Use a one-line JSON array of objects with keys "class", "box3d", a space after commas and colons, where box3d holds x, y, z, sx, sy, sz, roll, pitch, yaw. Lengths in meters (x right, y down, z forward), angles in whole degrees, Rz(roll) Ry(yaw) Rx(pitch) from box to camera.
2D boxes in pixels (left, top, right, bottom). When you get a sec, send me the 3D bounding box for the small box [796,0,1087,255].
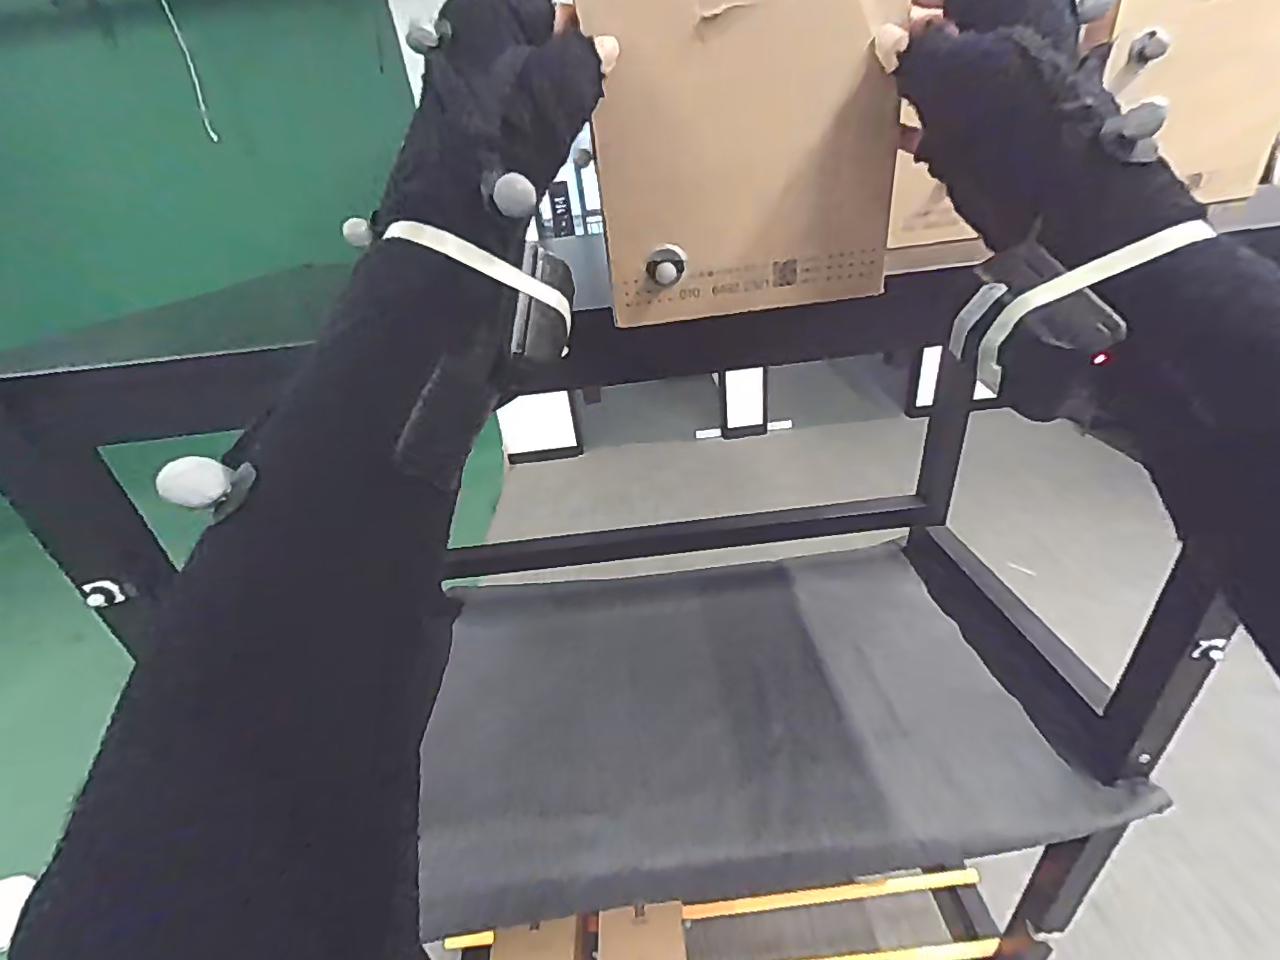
[{"class": "small box", "box3d": [0.252, -0.315, 0.508, 0.168, 0.176, 0.179, -7, 30, 1]}]
